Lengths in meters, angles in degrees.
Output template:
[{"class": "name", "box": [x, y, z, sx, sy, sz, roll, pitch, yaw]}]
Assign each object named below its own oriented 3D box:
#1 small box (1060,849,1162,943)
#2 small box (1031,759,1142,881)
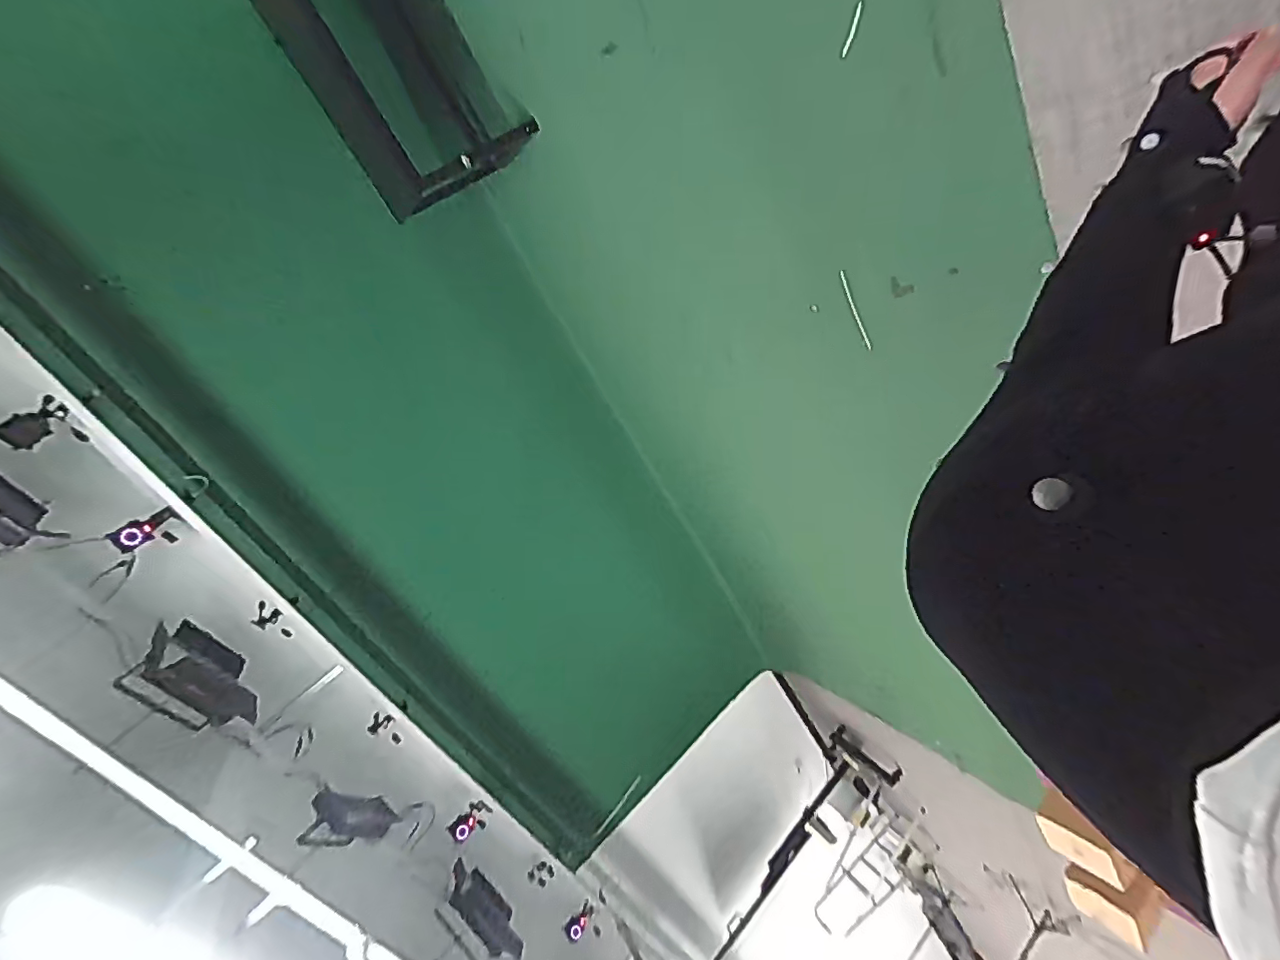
[{"class": "small box", "box": [1.334, 1.131, 1.530, 0.168, 0.176, 0.179, 14, 137, 60]}, {"class": "small box", "box": [1.174, 0.883, 1.418, 0.179, 0.176, 0.168, 57, 158, -21]}]
